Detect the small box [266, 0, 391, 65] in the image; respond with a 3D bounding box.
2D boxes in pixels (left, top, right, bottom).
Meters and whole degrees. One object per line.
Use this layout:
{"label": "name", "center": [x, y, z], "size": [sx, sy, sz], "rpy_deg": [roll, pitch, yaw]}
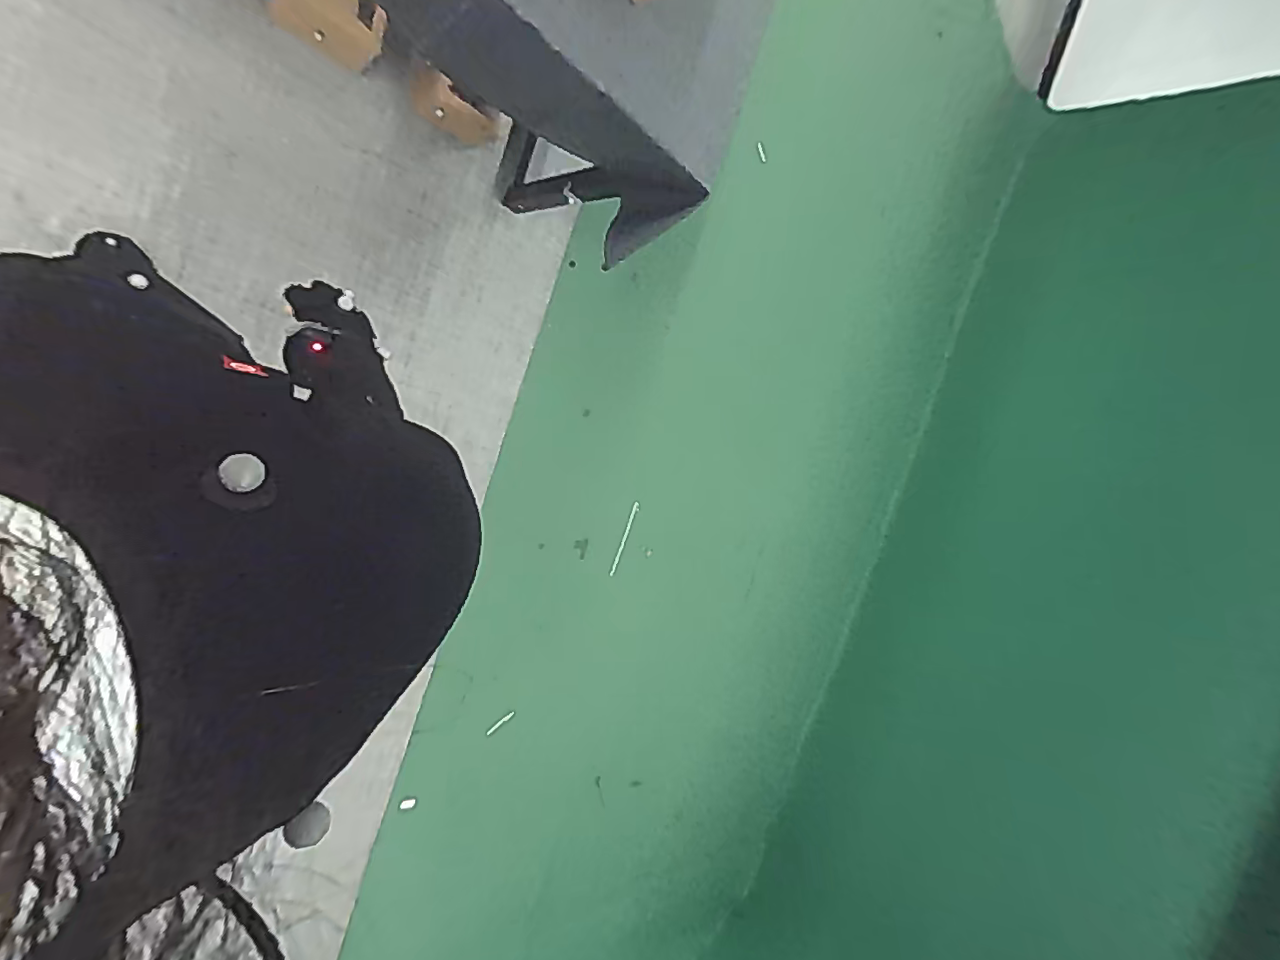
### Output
{"label": "small box", "center": [-0.618, -0.976, 1.080], "size": [0.179, 0.176, 0.168], "rpy_deg": [13, 97, -44]}
